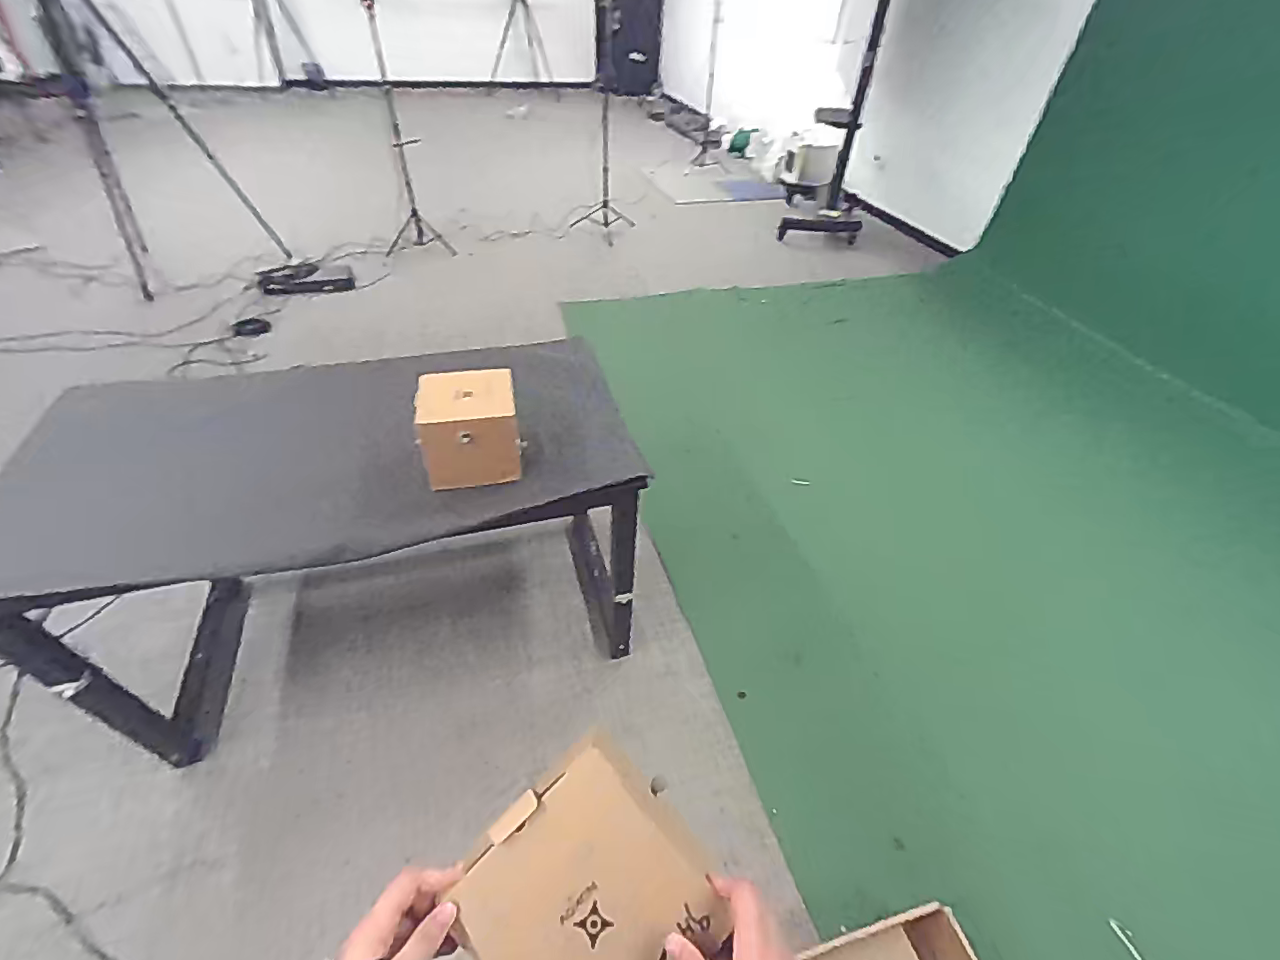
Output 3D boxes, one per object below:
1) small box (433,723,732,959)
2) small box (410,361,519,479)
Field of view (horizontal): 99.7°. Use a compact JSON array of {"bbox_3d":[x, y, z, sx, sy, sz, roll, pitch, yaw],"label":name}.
[{"bbox_3d":[-0.049,0.347,0.492,0.168,0.176,0.179,-41,80,-14],"label":"small box"},{"bbox_3d":[-0.341,-0.117,1.070,0.179,0.176,0.168,-6,45,-13],"label":"small box"}]
